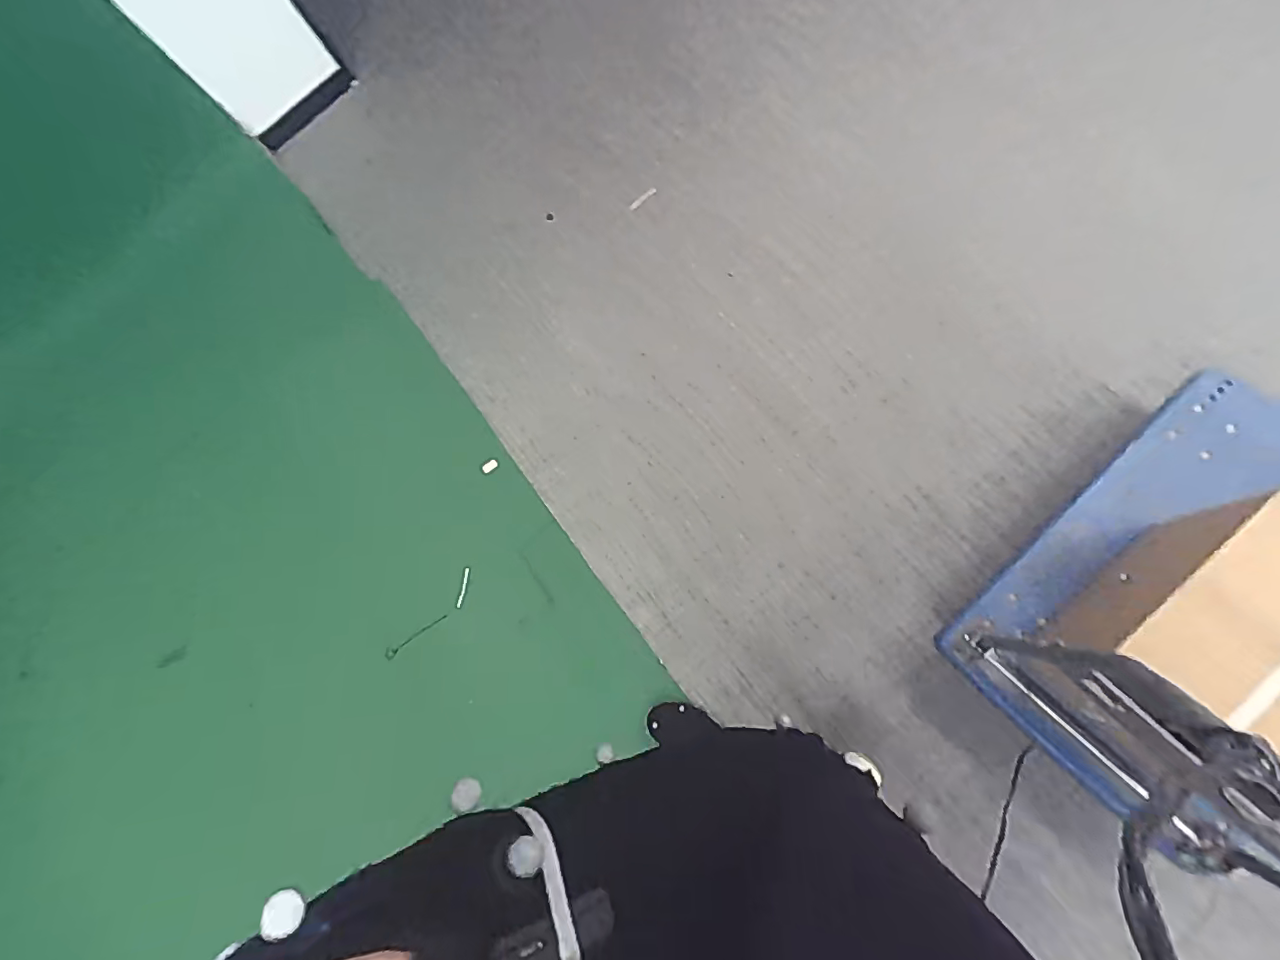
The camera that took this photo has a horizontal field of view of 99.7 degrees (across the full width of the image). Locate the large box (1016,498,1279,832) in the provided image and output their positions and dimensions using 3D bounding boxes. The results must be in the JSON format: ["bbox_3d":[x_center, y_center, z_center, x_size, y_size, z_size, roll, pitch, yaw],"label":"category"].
[{"bbox_3d":[0.986,0.309,0.948,0.408,0.320,0.320,-43,70,-3],"label":"large box"}]
